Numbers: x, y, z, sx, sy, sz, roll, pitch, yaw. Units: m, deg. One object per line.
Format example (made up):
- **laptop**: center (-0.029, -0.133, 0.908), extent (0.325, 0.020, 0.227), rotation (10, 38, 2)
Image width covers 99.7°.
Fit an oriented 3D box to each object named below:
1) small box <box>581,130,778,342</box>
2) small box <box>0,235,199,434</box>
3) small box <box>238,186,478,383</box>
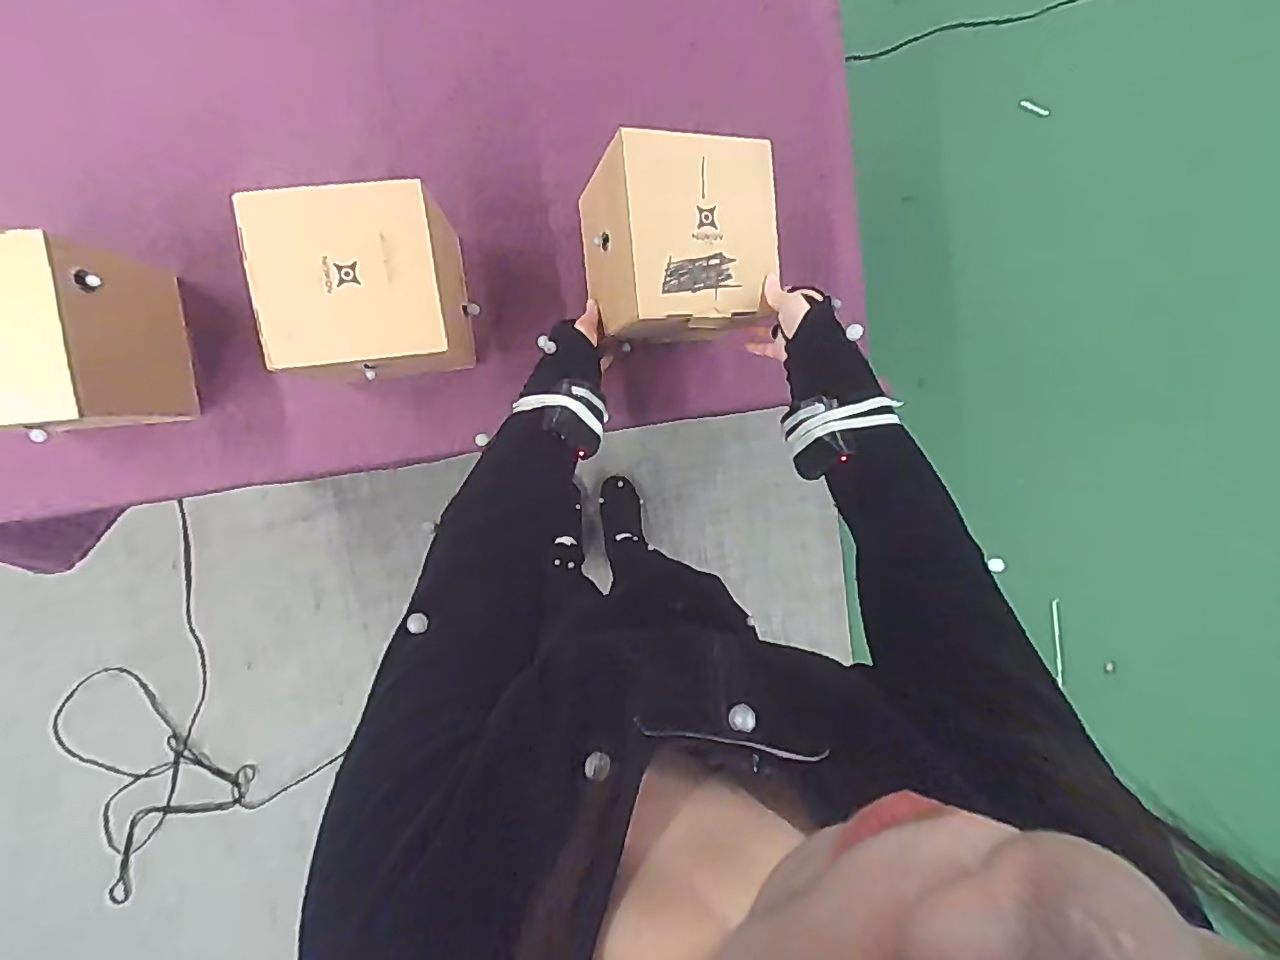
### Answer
- **small box**: center (0.036, -0.256, 0.612), extent (0.168, 0.176, 0.179), rotation (-8, 96, -19)
- **small box**: center (-0.622, -0.141, 0.581), extent (0.168, 0.176, 0.179), rotation (-6, 95, -5)
- **small box**: center (-0.295, -0.204, 0.605), extent (0.179, 0.176, 0.168), rotation (-7, 97, -5)
